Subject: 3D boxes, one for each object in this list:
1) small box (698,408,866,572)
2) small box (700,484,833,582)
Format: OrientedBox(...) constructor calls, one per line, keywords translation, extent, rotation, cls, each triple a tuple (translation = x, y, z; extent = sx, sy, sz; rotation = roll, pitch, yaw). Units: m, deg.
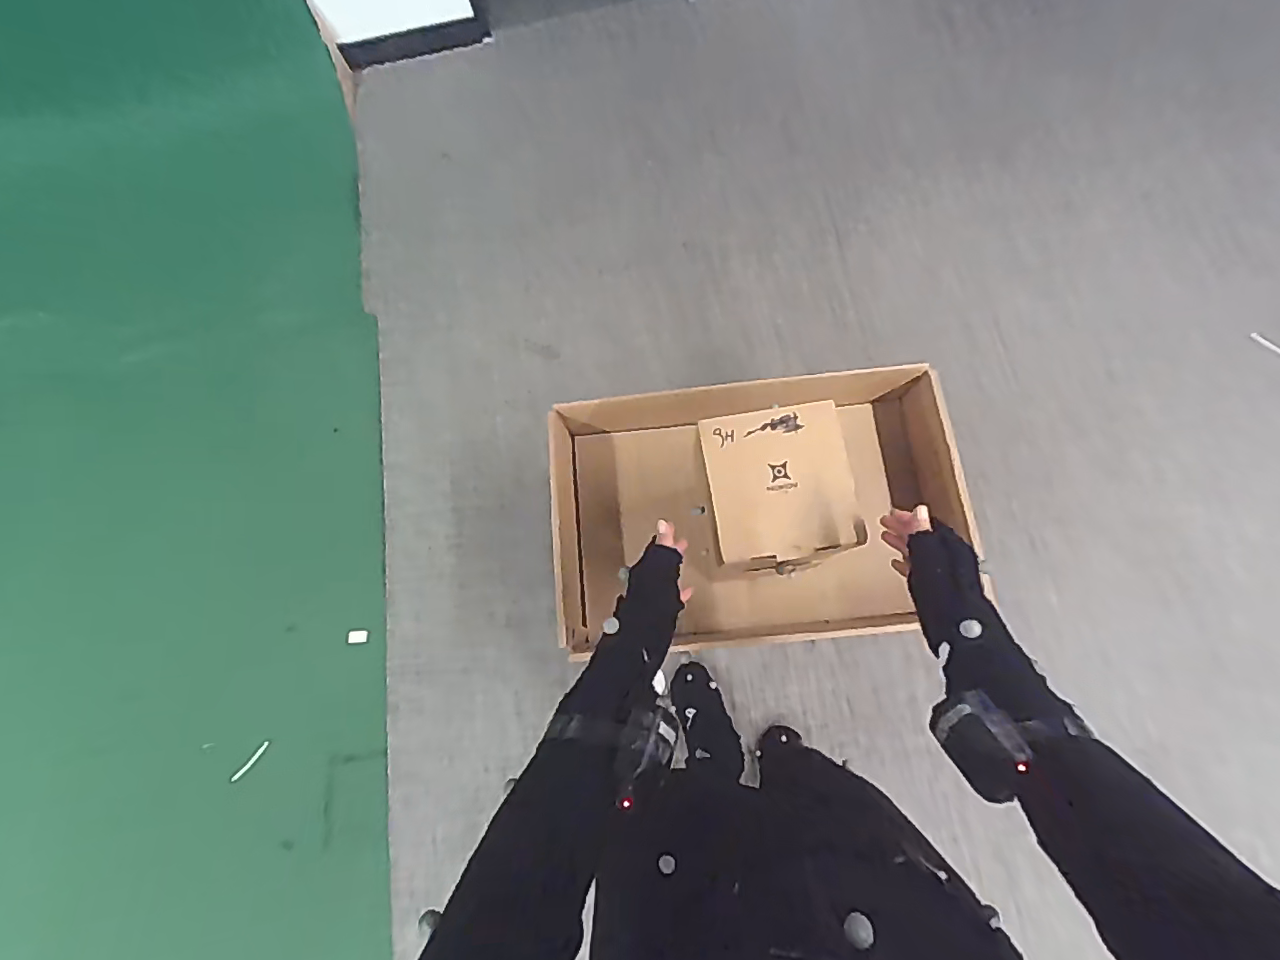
OrientedBox(translation=(0.171, 0.025, 0.706), extent=(0.168, 0.176, 0.179), rotation=(-8, 76, 2), cls="small box")
OrientedBox(translation=(0.190, 0.066, 0.863), extent=(0.168, 0.176, 0.179), rotation=(-8, 74, 2), cls="small box")
